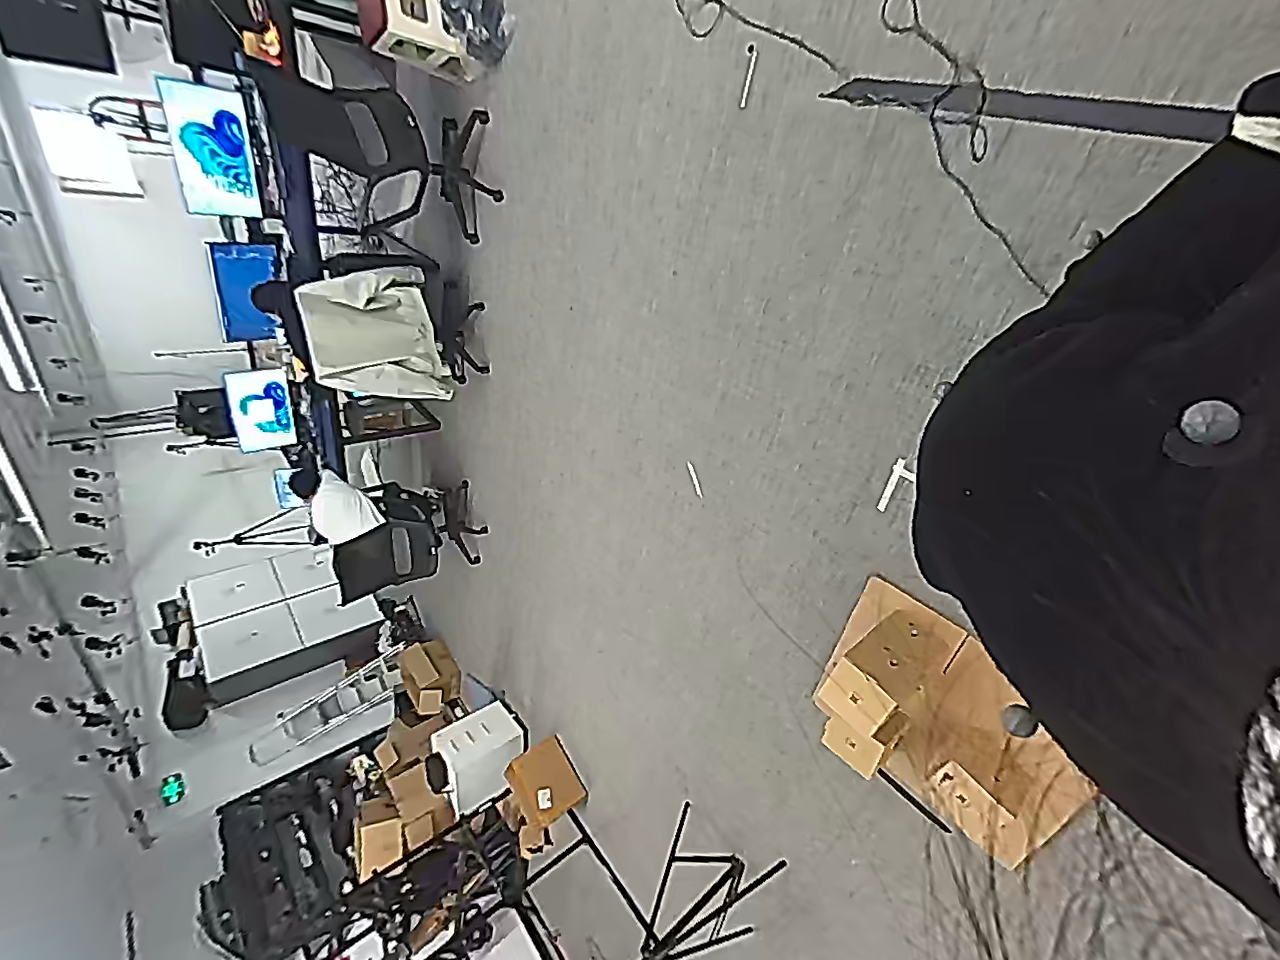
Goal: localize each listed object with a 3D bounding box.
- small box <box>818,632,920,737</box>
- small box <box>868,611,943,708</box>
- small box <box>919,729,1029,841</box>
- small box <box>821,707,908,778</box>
[{"bbox_3d":[0.626,0.553,1.476,0.168,0.176,0.179,40,130,34],"label":"small box"},{"bbox_3d":[0.749,0.519,1.578,0.168,0.176,0.179,37,128,36],"label":"small box"},{"bbox_3d":[0.919,0.829,1.482,0.179,0.176,0.168,44,132,30],"label":"small box"},{"bbox_3d":[0.713,0.790,1.720,0.179,0.176,0.168,32,127,40],"label":"small box"}]
